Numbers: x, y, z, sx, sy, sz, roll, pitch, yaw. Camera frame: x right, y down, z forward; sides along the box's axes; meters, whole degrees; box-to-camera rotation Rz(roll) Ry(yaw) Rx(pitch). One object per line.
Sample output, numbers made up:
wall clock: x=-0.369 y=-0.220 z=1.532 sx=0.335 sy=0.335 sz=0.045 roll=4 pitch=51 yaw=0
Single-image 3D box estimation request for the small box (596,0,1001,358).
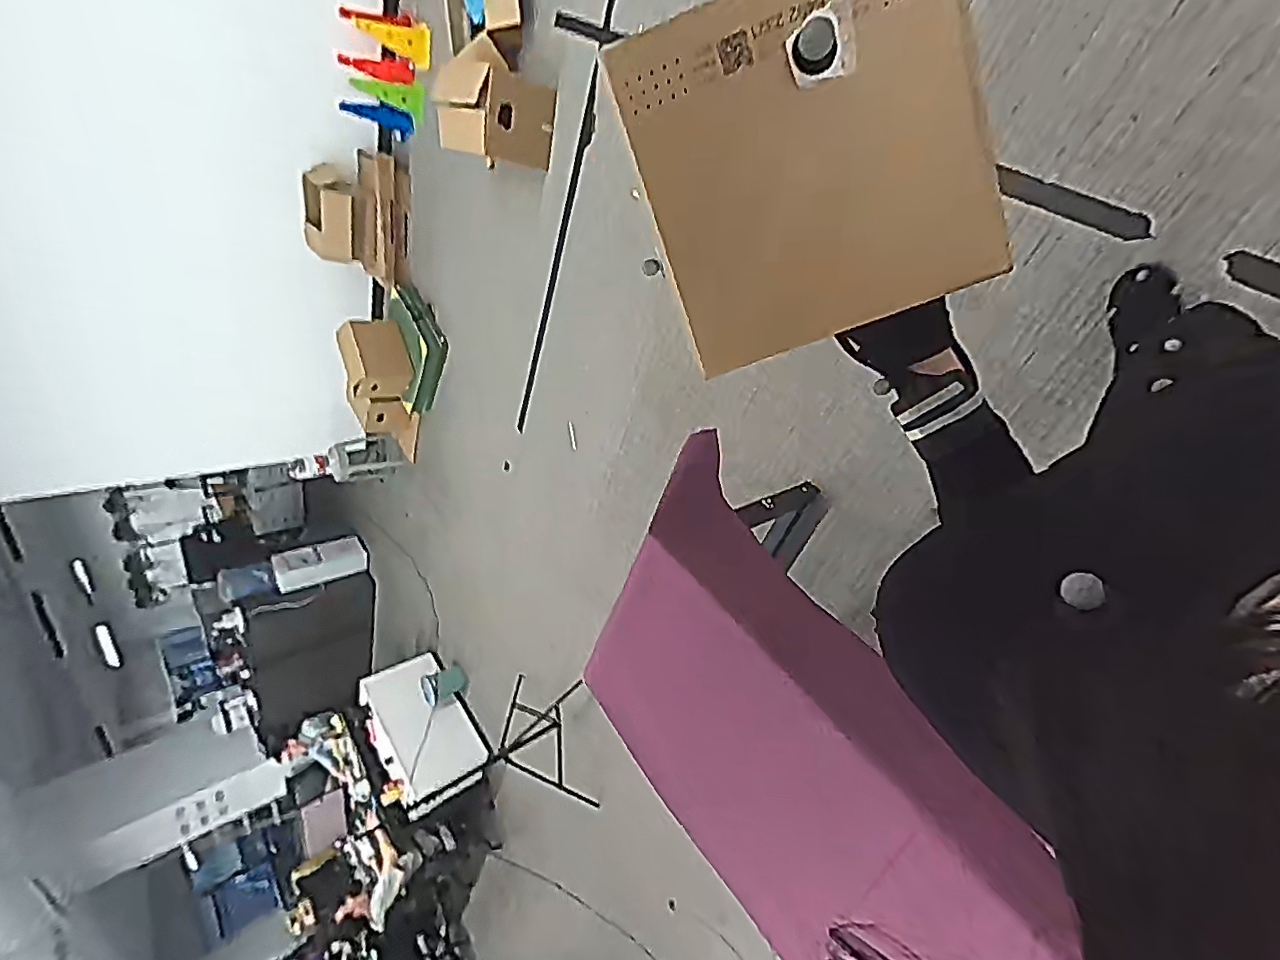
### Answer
small box: x=0.087 y=-0.192 z=0.343 sx=0.168 sy=0.179 sz=0.176 roll=-19 pitch=105 yaw=11
